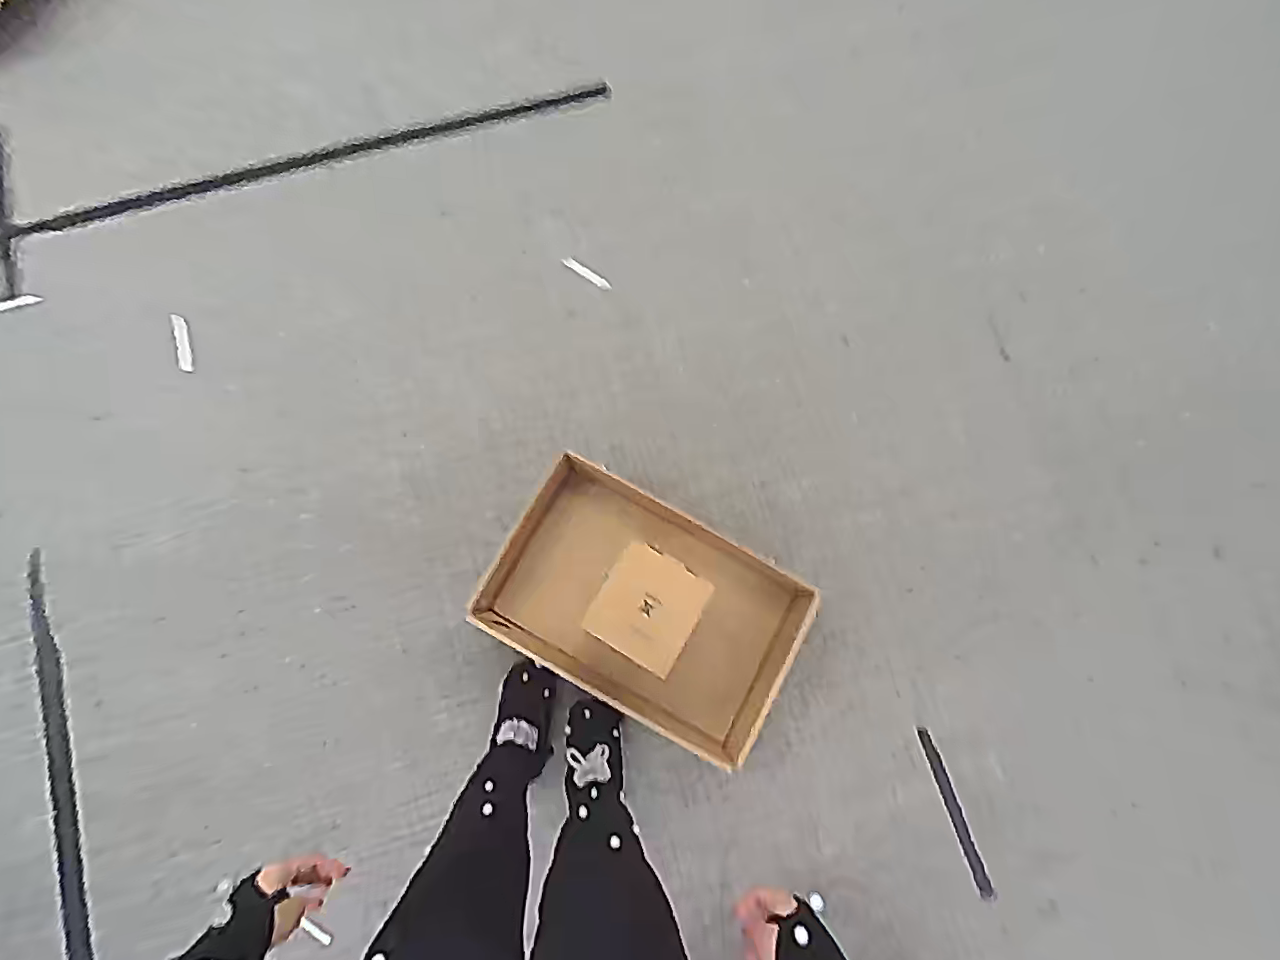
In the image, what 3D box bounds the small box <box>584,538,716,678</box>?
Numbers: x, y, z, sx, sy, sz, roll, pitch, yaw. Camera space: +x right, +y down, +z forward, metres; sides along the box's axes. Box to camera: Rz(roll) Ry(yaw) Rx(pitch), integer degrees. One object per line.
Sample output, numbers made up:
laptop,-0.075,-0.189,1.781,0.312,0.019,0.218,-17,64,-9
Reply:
small box,0.015,0.225,0.978,0.168,0.176,0.179,31,81,5
